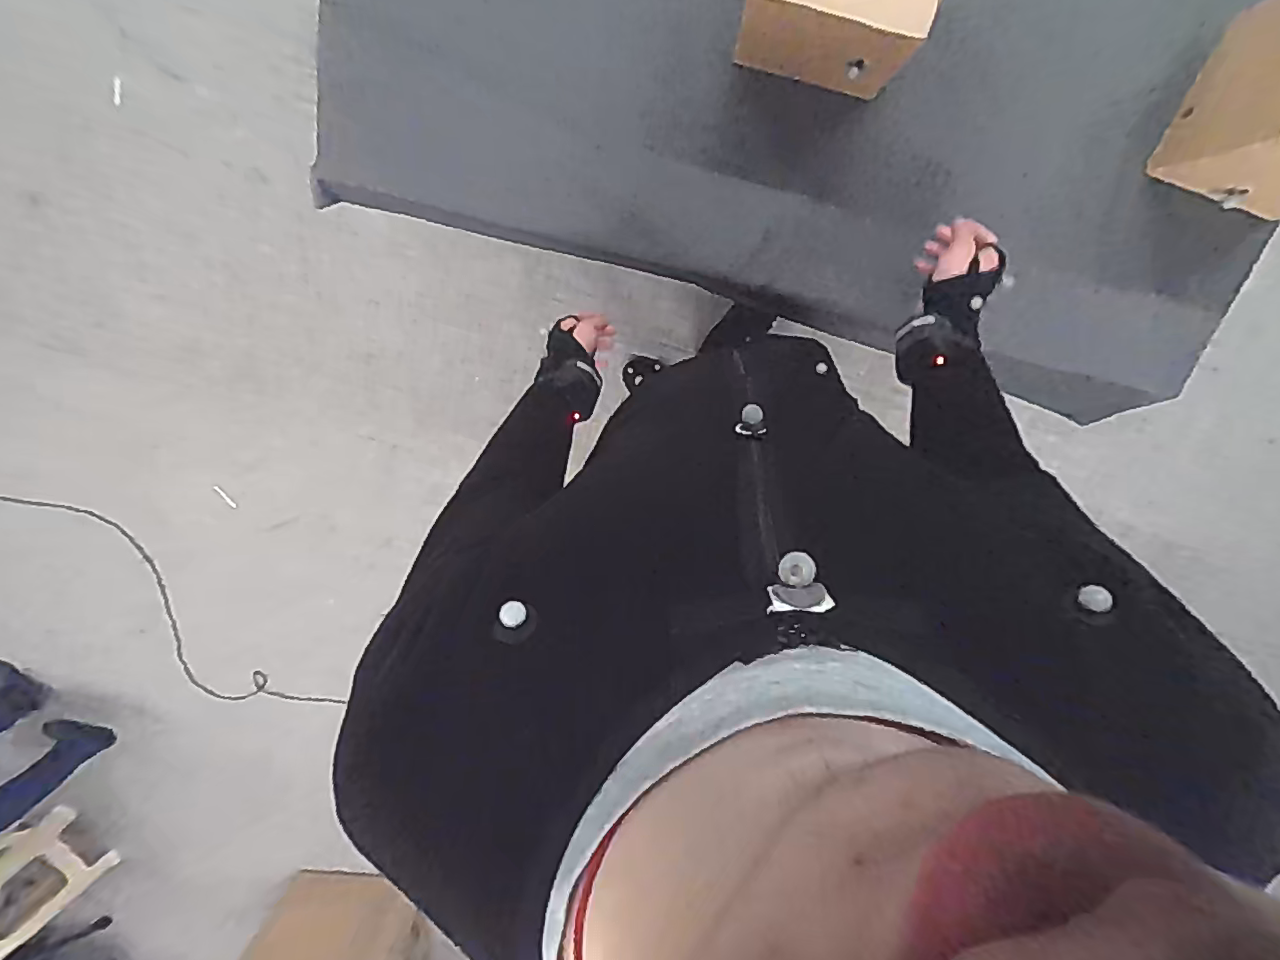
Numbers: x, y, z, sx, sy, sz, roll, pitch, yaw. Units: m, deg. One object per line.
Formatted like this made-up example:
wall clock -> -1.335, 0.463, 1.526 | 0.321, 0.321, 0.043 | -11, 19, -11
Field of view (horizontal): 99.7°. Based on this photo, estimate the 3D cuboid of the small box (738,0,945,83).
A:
small box -> 0.210, -0.533, 0.541 | 0.179, 0.176, 0.168 | 14, 110, -1

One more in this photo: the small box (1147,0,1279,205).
small box -> 0.711, -0.400, 0.559 | 0.179, 0.176, 0.168 | 18, 111, -4
